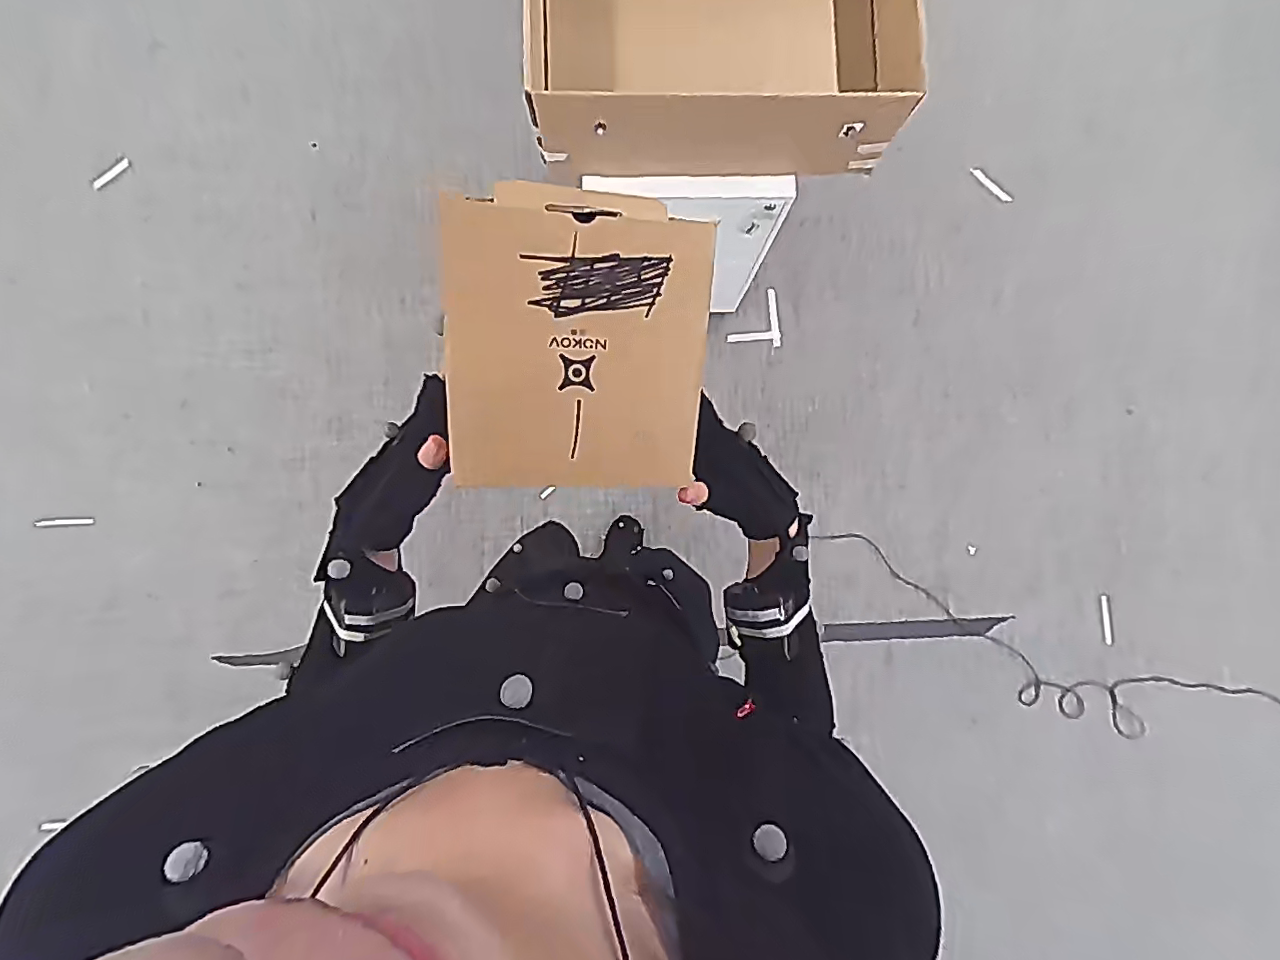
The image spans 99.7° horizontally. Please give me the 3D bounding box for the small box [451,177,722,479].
[{"bbox_3d":[-0.049,-0.109,0.418,0.168,0.176,0.179,1,107,-10],"label":"small box"}]
